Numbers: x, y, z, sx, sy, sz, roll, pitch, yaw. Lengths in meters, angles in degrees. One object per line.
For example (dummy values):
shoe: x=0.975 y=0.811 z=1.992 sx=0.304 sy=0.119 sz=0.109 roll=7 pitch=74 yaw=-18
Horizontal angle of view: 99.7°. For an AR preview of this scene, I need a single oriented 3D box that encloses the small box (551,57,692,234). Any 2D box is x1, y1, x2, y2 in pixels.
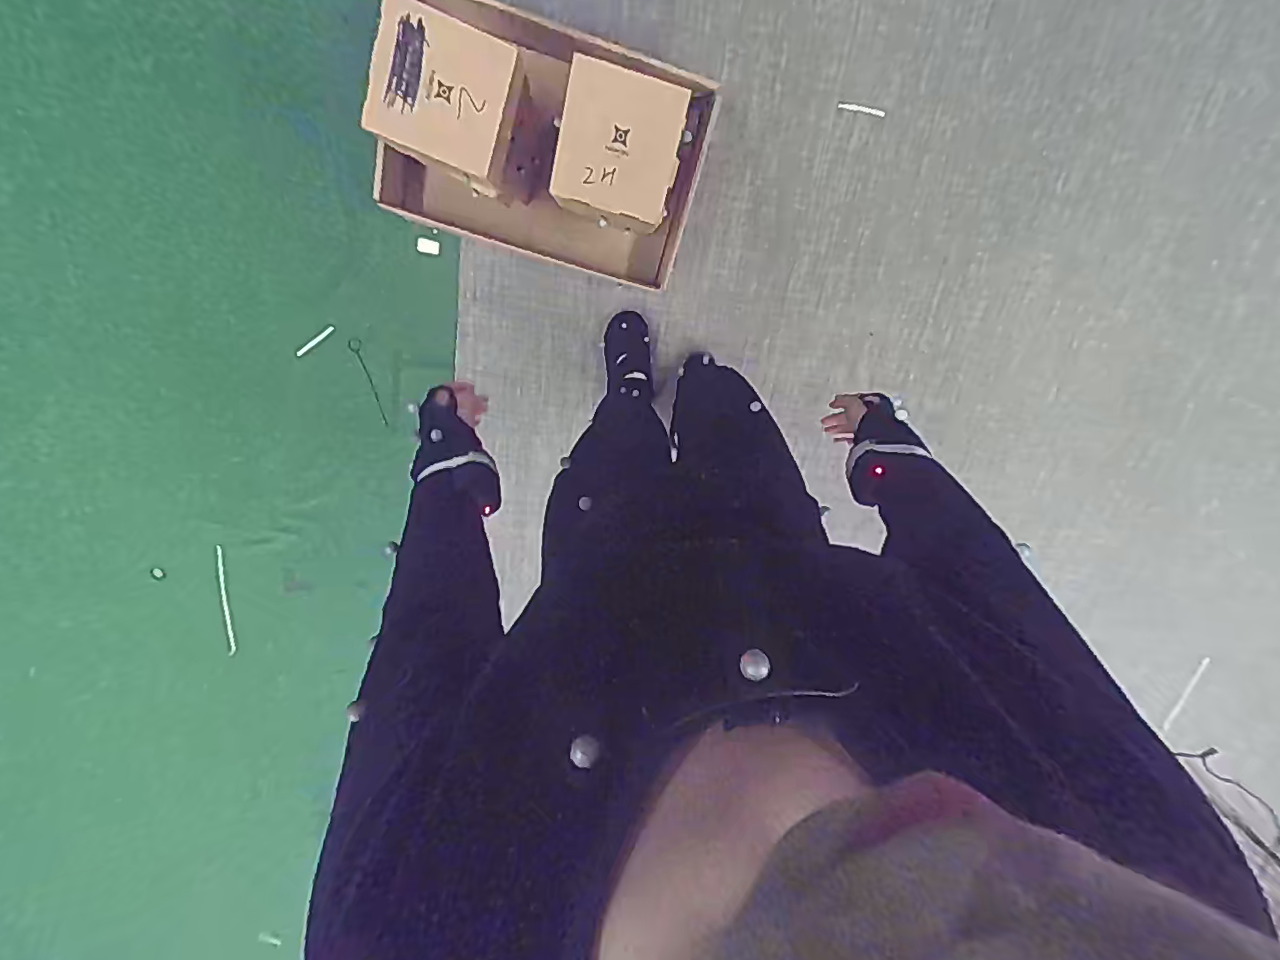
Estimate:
small box: x=-0.031 y=-0.495 z=0.830 sx=0.168 sy=0.176 sz=0.179 roll=14 pitch=110 yaw=-6
